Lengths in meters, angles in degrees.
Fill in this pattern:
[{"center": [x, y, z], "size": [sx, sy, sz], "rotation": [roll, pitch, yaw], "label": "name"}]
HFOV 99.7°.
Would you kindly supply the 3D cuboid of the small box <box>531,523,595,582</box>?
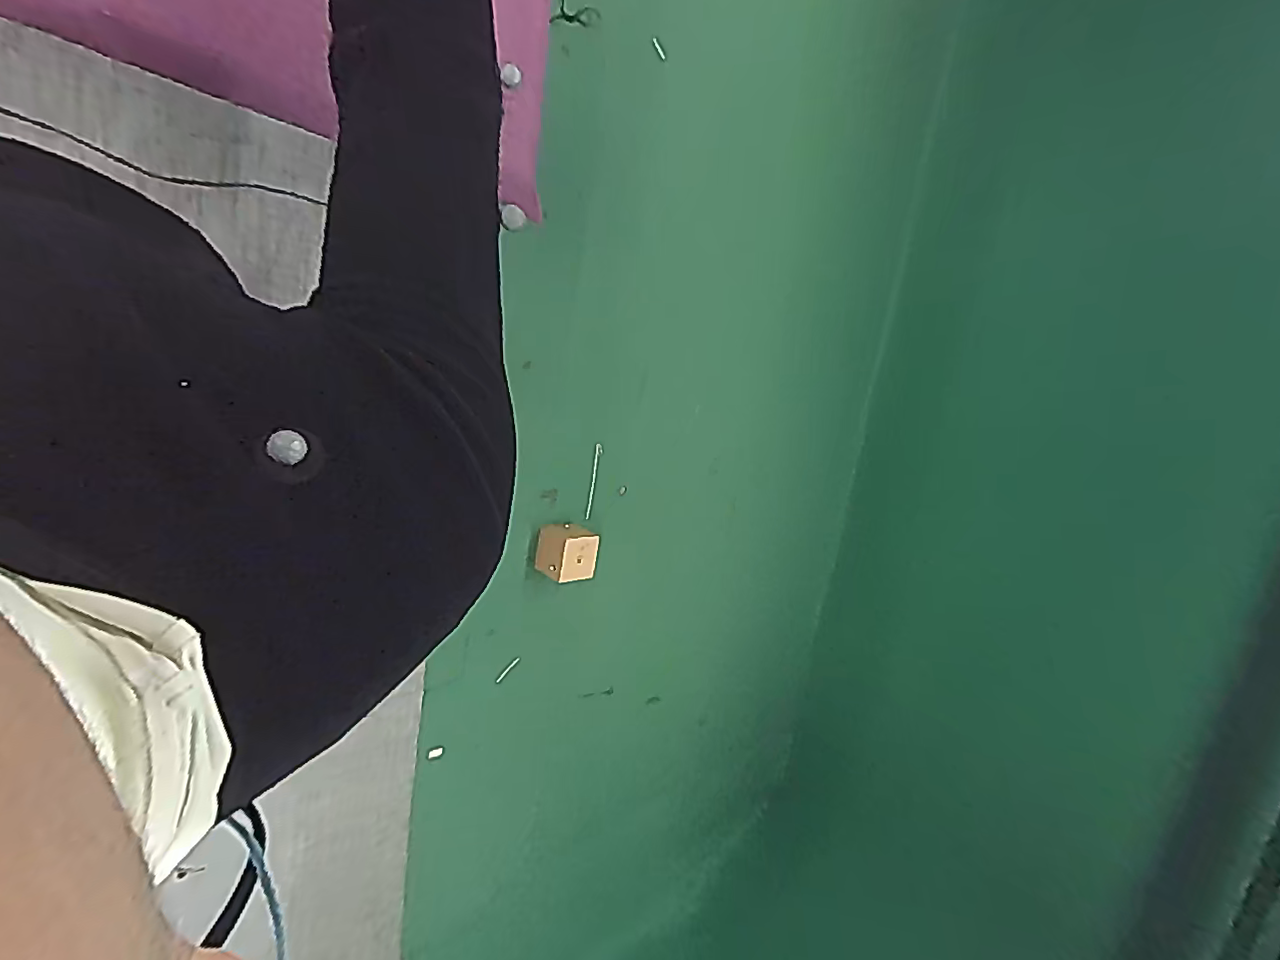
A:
[{"center": [-0.304, 0.276, 2.095], "size": [0.168, 0.176, 0.179], "rotation": [1, 104, -46], "label": "small box"}]
